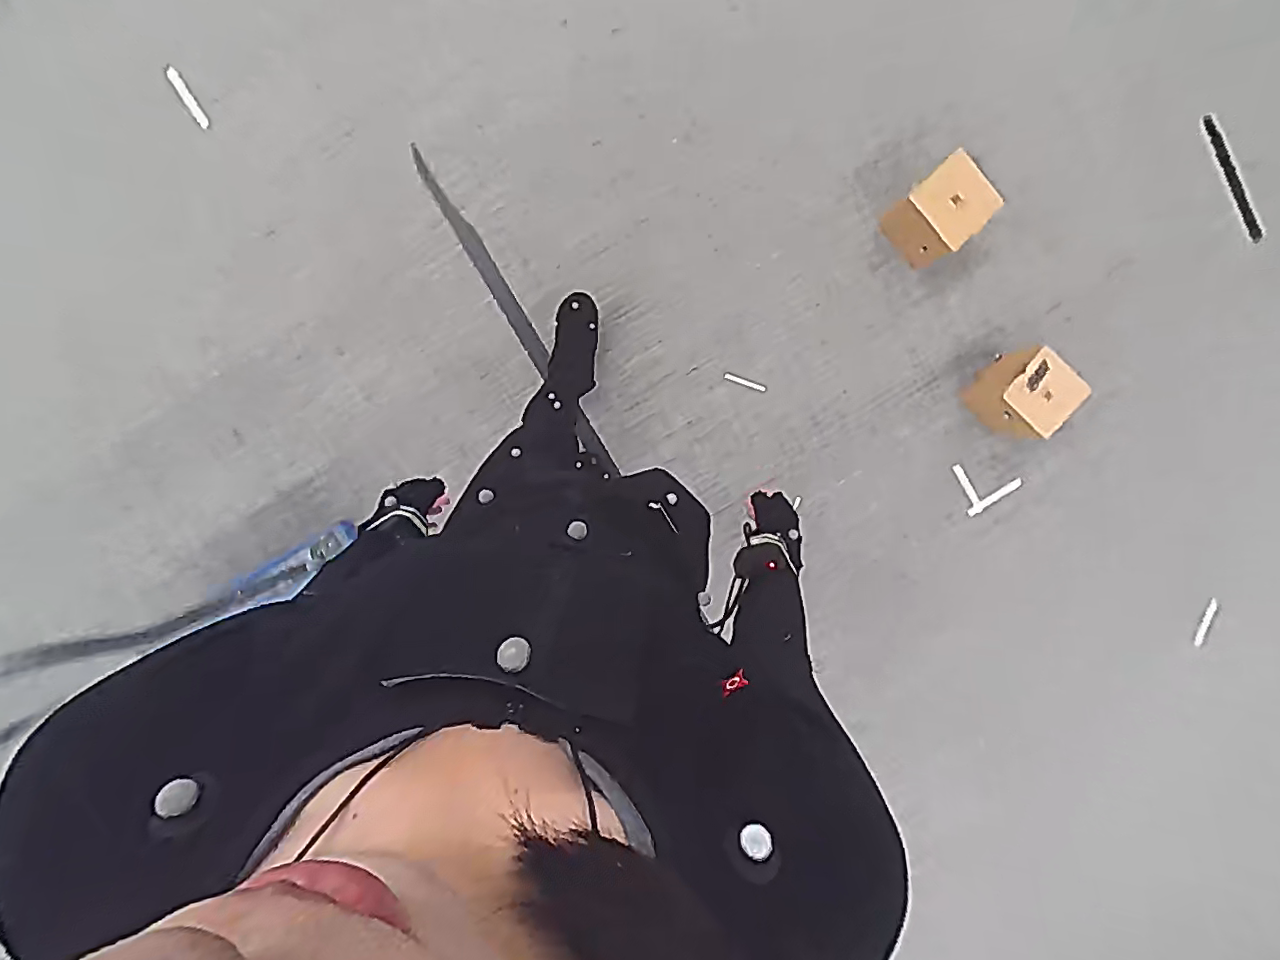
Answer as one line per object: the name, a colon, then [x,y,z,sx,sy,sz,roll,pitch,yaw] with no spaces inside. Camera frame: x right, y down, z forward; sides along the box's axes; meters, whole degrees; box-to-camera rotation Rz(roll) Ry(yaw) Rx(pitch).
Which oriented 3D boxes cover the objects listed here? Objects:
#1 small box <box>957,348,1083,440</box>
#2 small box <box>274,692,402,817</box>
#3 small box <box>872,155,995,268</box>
small box: [0.998,-0.224,1.438,0.179,0.176,0.168,40,95,-7]
small box: [-0.715,0.654,1.303,0.179,0.176,0.168,-29,98,3]
small box: [0.733,-0.663,1.366,0.168,0.176,0.179,-44,96,3]
